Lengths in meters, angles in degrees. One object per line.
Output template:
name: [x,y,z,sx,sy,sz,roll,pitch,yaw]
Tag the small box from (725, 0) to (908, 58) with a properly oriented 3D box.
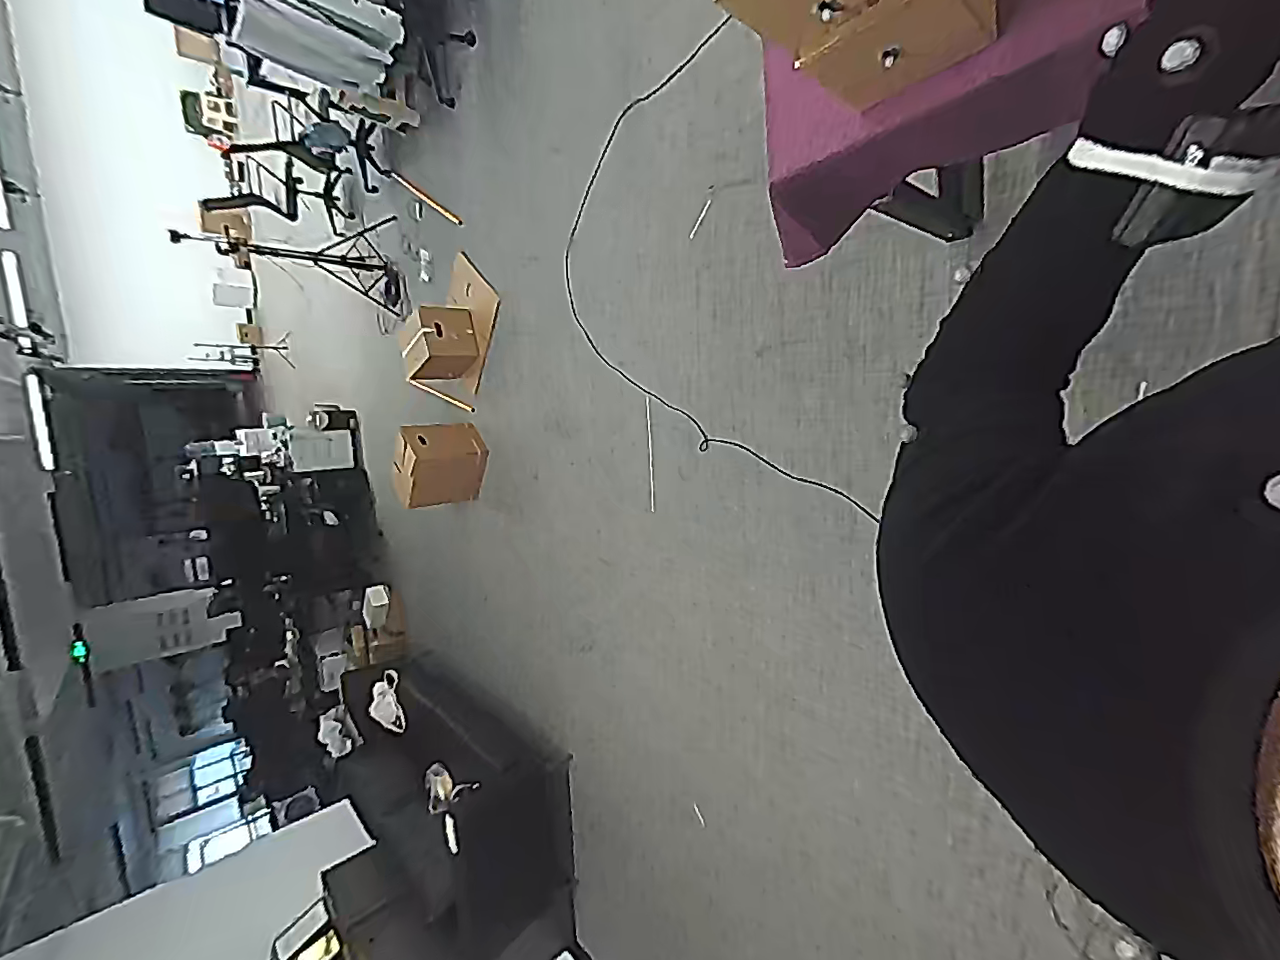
small box: [0.187,-0.591,0.550,0.168,0.176,0.179,2,99,48]
